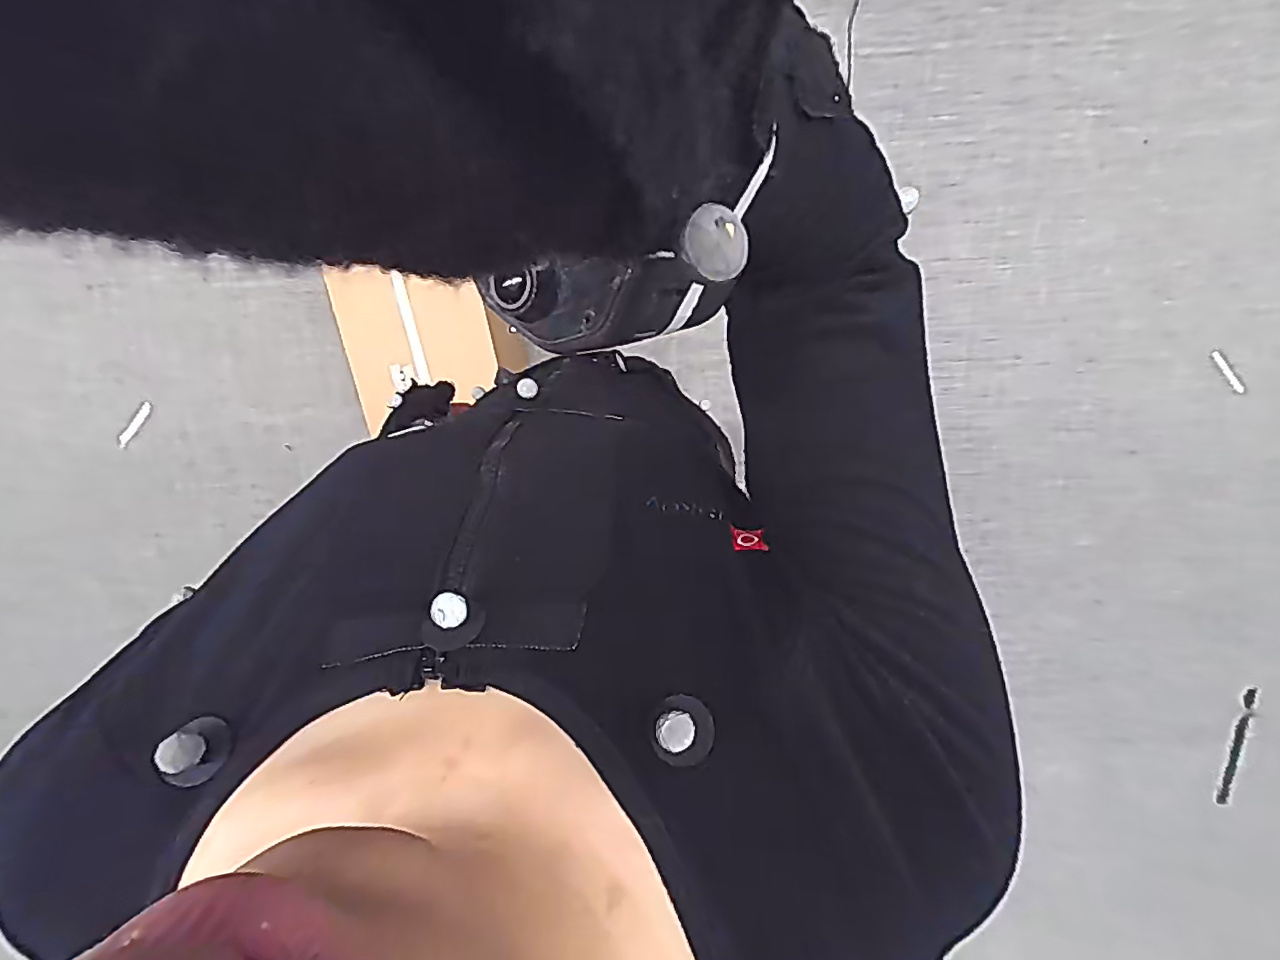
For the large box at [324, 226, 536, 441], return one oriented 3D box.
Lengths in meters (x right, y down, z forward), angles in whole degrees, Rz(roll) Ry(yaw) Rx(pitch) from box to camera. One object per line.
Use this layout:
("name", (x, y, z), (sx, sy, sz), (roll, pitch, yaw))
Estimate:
("large box", (-0.466, -0.336, 1.294), (0.320, 0.320, 0.408), (-10, 103, 4))
